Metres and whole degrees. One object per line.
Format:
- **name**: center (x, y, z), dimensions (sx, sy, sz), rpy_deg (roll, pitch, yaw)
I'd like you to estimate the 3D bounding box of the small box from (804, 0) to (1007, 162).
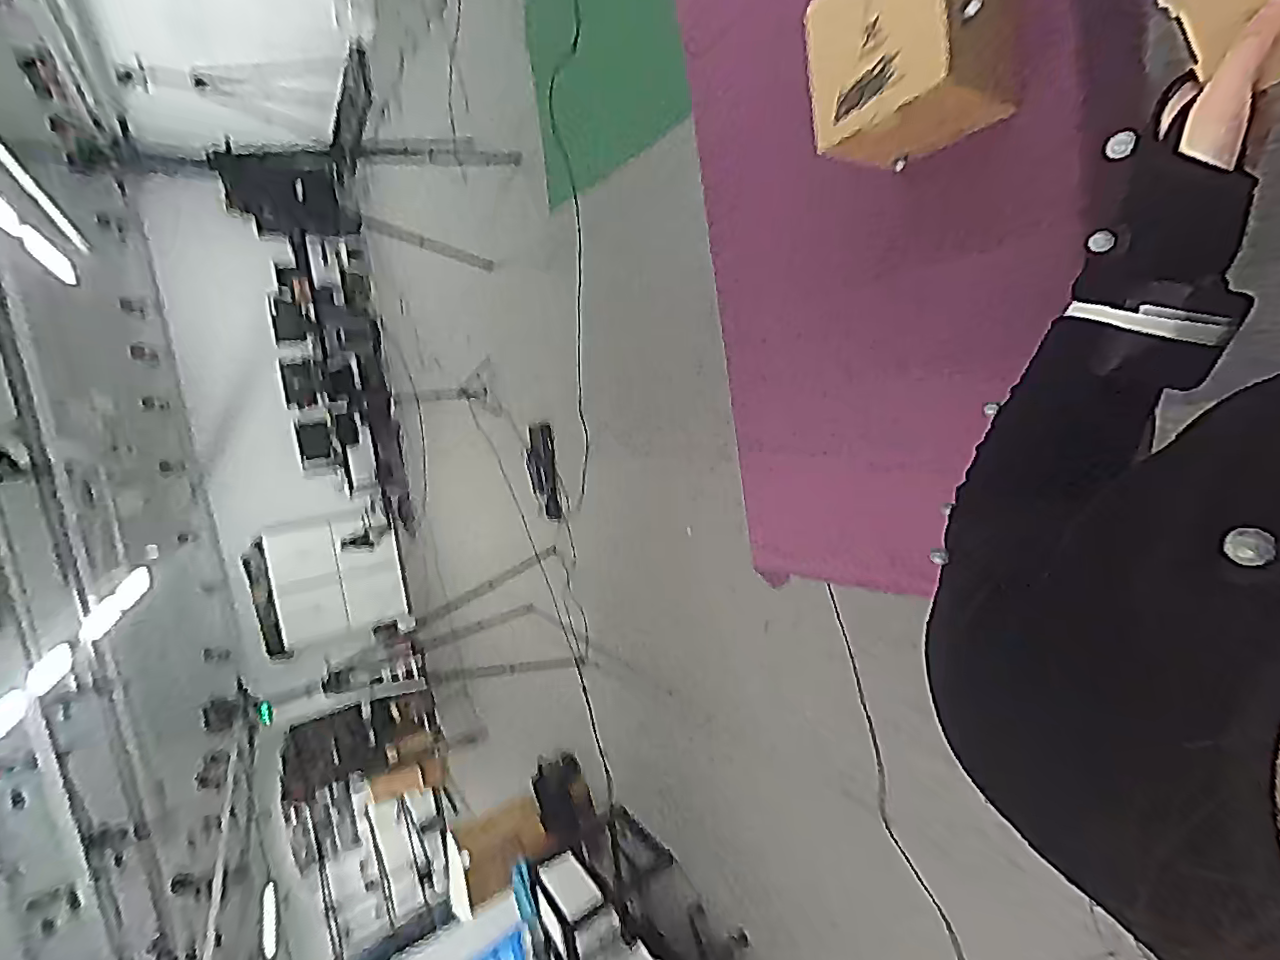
- **small box**: center (0.330, -0.521, 0.671), dimensions (0.168, 0.176, 0.179), rpy_deg (3, 102, 56)
